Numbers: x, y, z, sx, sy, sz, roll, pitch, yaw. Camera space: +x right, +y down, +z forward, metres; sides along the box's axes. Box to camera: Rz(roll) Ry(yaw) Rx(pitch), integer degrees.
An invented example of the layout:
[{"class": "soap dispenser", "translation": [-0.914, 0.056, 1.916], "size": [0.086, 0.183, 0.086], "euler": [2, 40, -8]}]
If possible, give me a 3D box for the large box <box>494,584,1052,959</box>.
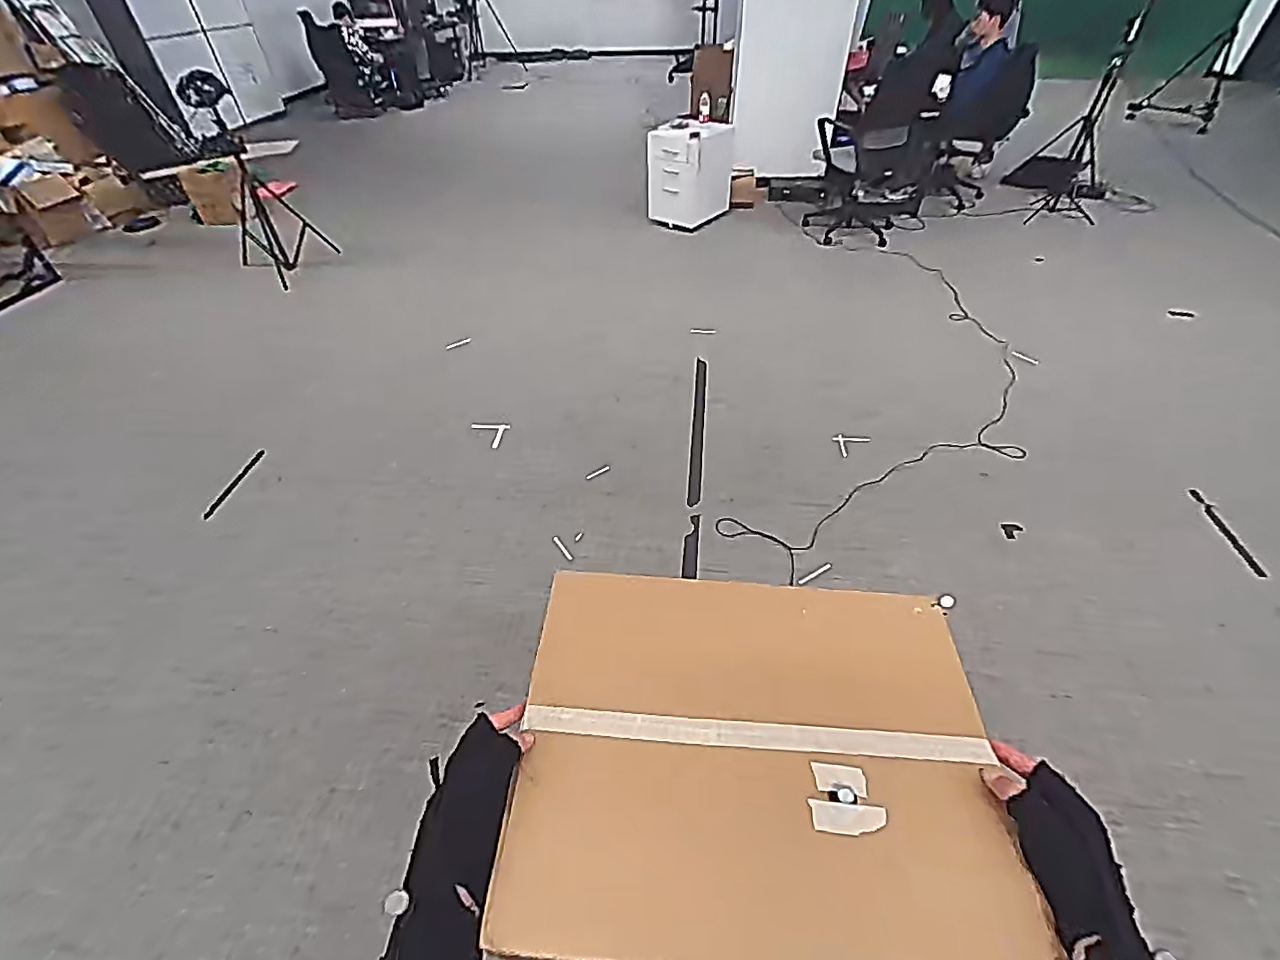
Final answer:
[{"class": "large box", "translation": [0.096, 0.337, 0.582], "size": [0.408, 0.320, 0.320], "euler": [4, 47, 2]}]
